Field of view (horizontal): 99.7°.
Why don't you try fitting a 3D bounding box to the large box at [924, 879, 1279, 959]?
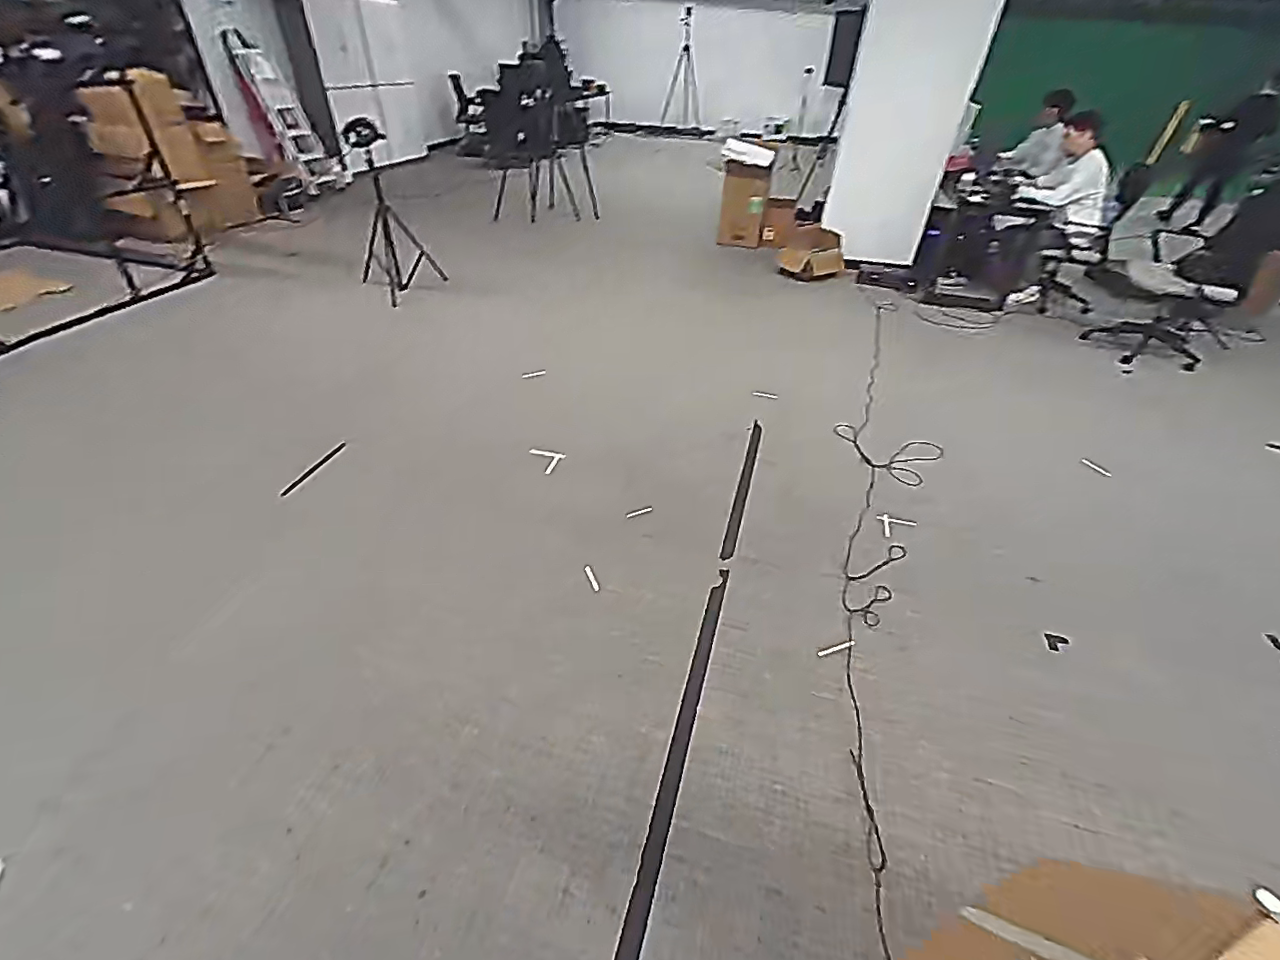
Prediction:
[{"bbox_3d":[0.546,0.688,0.559,0.320,0.408,0.320,-26,62,-9],"label":"large box"}]
